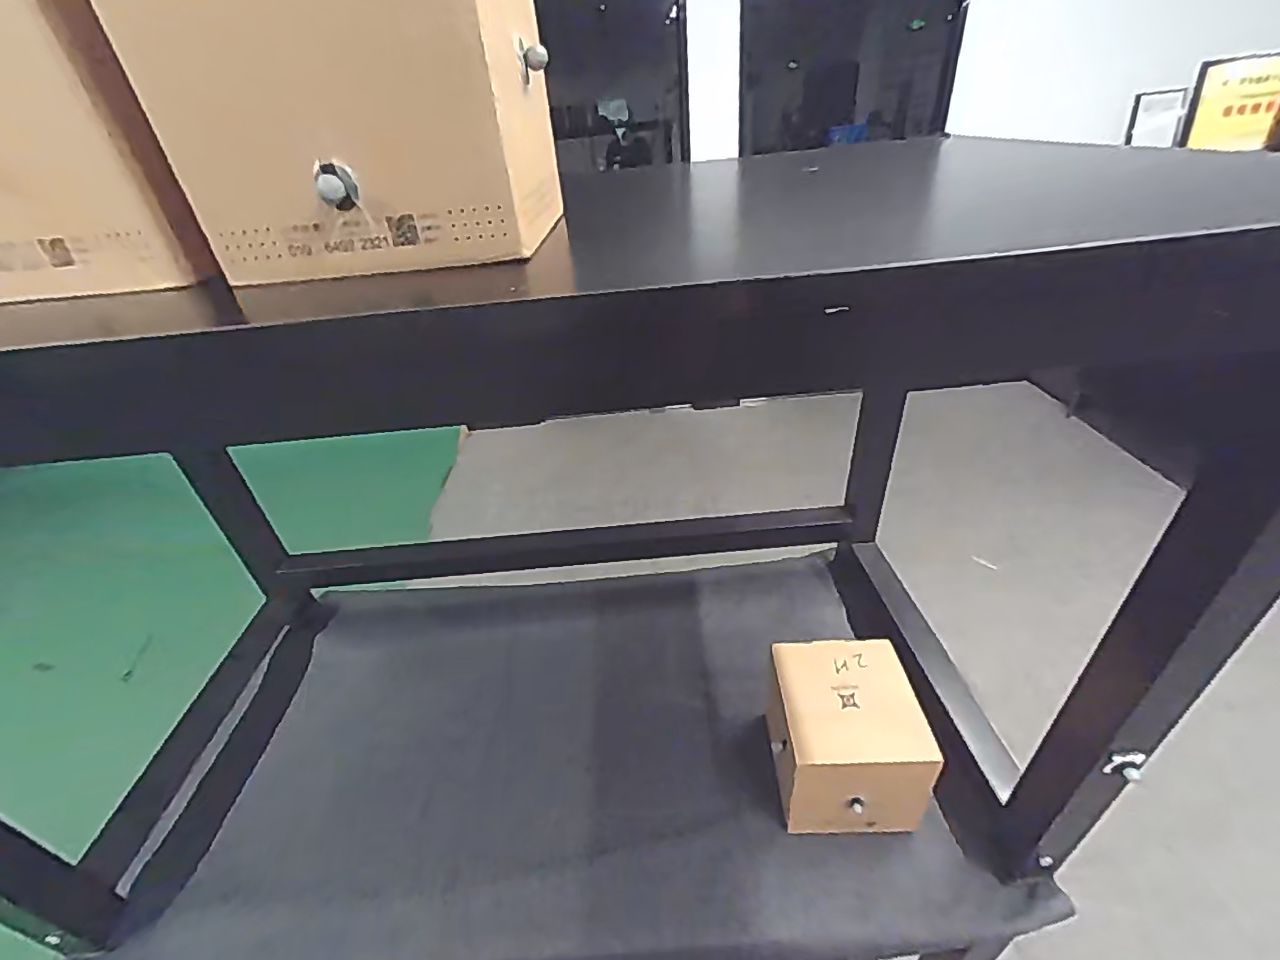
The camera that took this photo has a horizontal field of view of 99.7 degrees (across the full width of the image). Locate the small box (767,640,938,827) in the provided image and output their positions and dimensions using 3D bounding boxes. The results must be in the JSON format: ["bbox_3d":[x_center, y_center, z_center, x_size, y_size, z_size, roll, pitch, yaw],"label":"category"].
[{"bbox_3d":[0.269,0.341,0.729,0.168,0.176,0.179,-3,33,4],"label":"small box"}]
